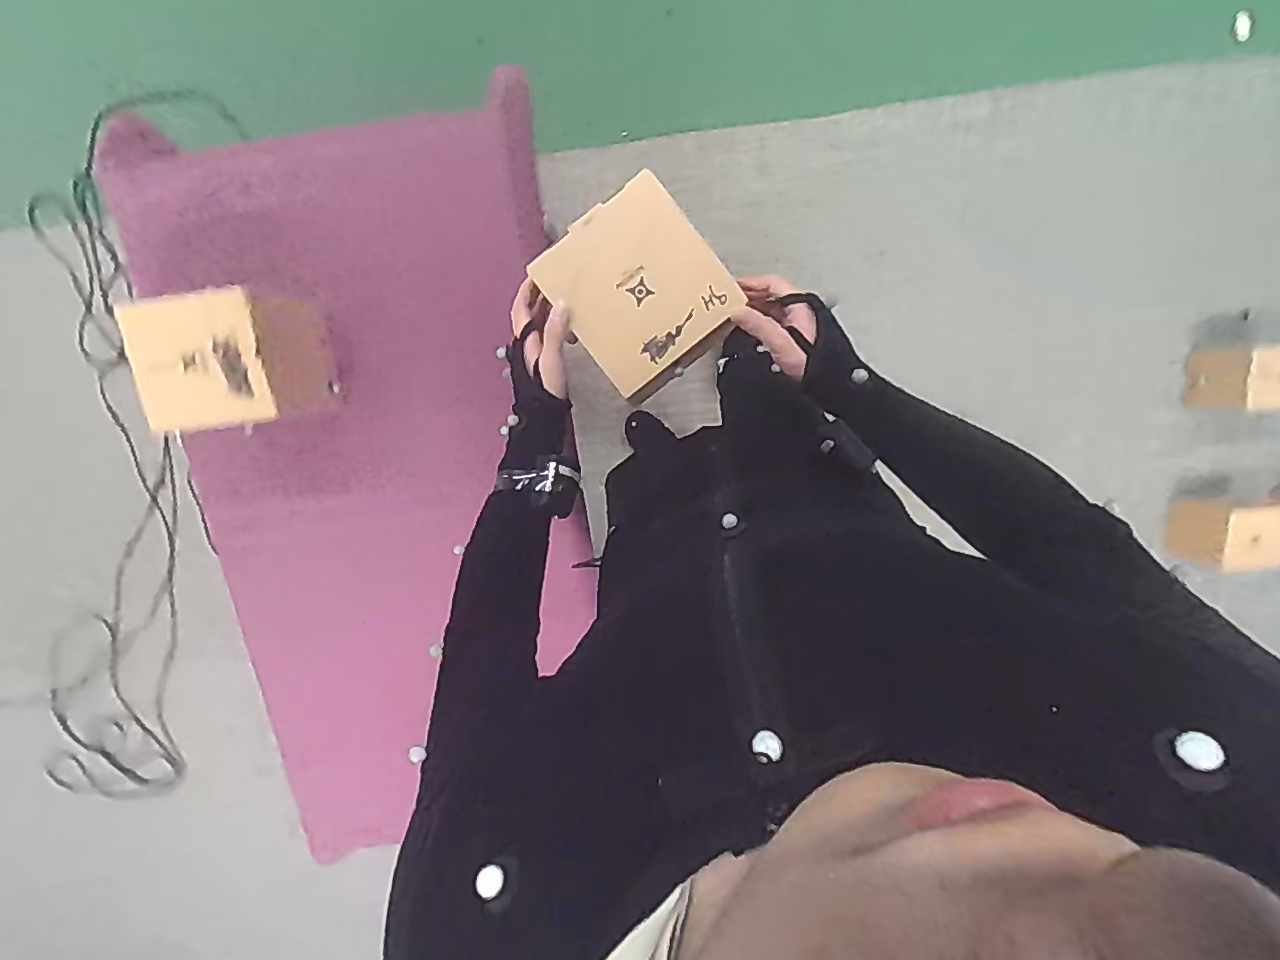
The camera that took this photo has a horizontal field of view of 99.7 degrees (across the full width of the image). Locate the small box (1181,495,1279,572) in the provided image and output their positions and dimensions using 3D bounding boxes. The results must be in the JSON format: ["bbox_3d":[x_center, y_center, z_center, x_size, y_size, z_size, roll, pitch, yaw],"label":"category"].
[{"bbox_3d":[1.681,0.143,1.514,0.168,0.176,0.179,-4,102,2],"label":"small box"}]

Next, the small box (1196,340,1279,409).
[{"bbox_3d":[1.650,-0.282,1.429,0.179,0.176,0.168,-5,101,2],"label":"small box"}]

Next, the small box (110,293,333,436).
[{"bbox_3d":[-0.569,-0.162,0.768,0.179,0.176,0.168,-7,101,4],"label":"small box"}]
